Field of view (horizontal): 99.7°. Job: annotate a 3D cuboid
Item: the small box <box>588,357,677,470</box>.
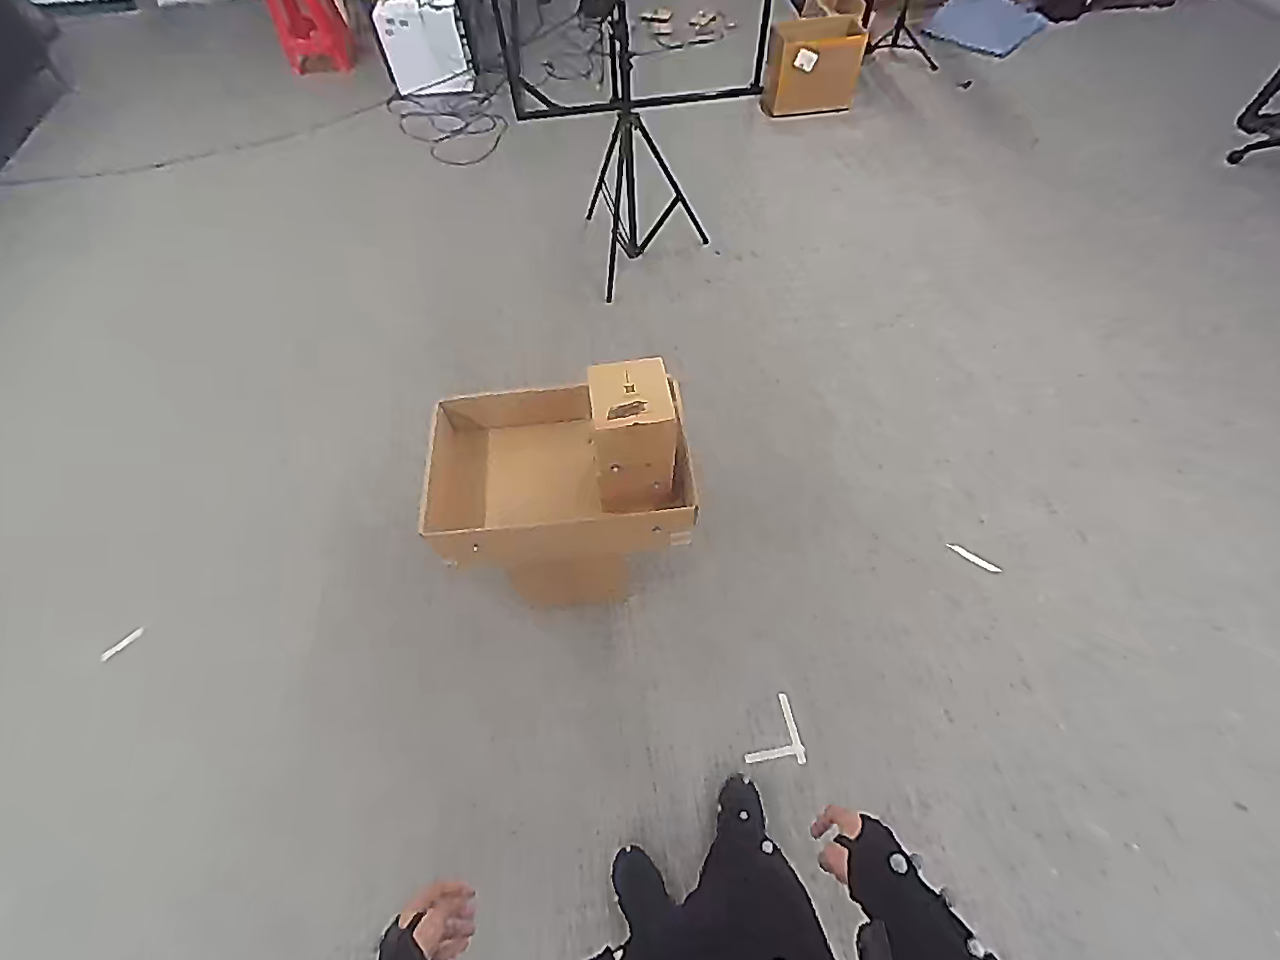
[{"bbox_3d":[-0.015,-0.135,1.163,0.168,0.176,0.179,-8,59,-4],"label":"small box"}]
